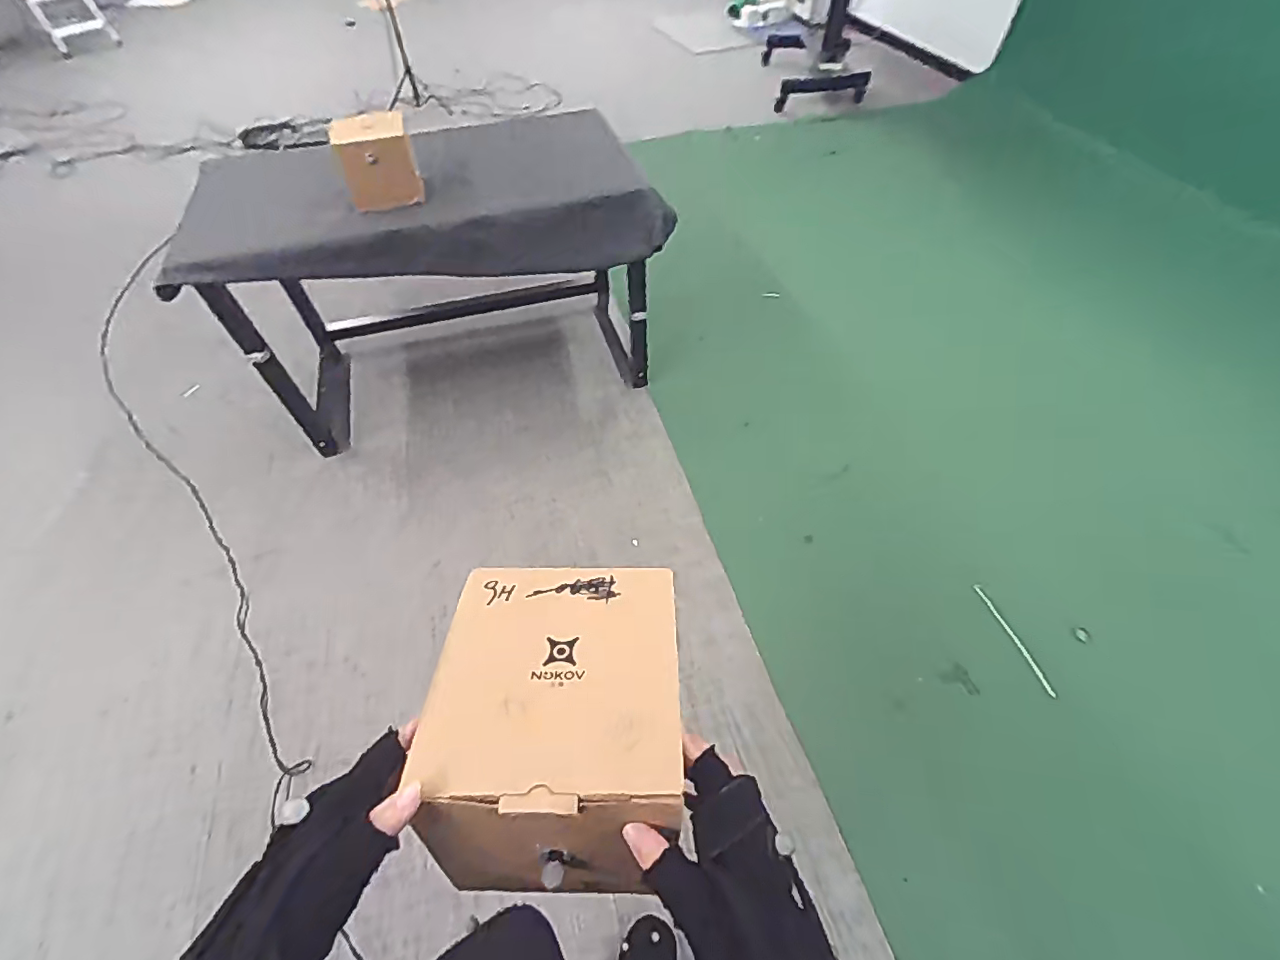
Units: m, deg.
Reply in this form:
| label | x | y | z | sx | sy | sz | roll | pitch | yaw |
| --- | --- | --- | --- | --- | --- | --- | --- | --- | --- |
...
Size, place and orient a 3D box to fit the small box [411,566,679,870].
| label | x | y | z | sx | sy | sz | roll | pitch | yaw |
| --- | --- | --- | --- | --- | --- | --- | --- | --- | --- |
| small box | -0.054 | 0.190 | 0.434 | 0.168 | 0.176 | 0.179 | 0 | 39 | 0 |

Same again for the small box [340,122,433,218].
| label | x | y | z | sx | sy | sz | roll | pitch | yaw |
| --- | --- | --- | --- | --- | --- | --- | --- | --- | --- |
| small box | -0.664 | -0.815 | 1.428 | 0.179 | 0.176 | 0.168 | -14 | 54 | -11 |
